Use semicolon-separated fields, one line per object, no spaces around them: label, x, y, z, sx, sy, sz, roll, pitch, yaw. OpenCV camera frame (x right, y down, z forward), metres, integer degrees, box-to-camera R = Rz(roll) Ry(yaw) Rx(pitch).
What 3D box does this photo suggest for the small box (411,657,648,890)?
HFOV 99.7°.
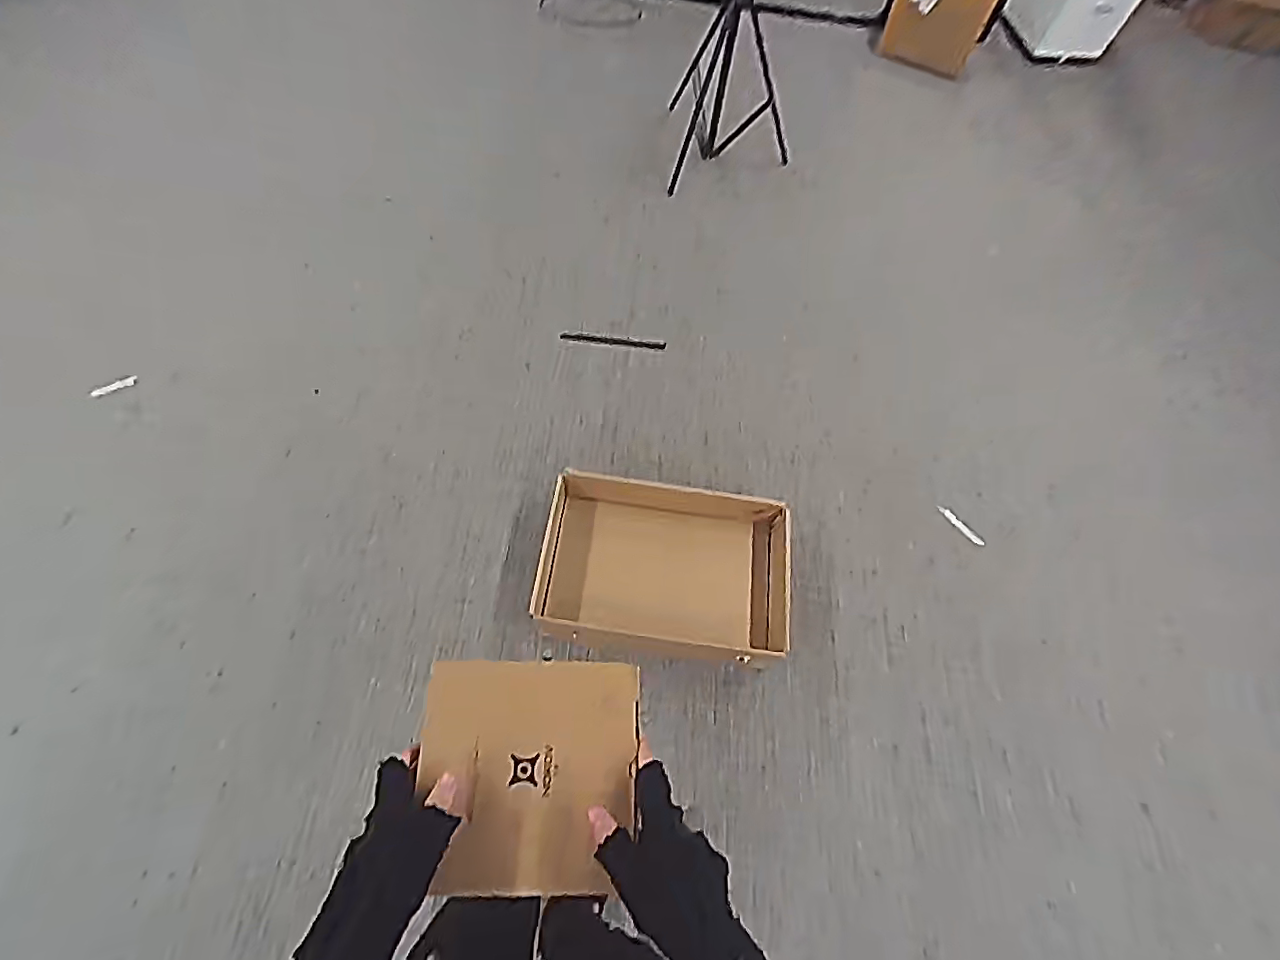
small box;-0.087;0.258;0.504;0.179;0.176;0.168;0;65;-3
